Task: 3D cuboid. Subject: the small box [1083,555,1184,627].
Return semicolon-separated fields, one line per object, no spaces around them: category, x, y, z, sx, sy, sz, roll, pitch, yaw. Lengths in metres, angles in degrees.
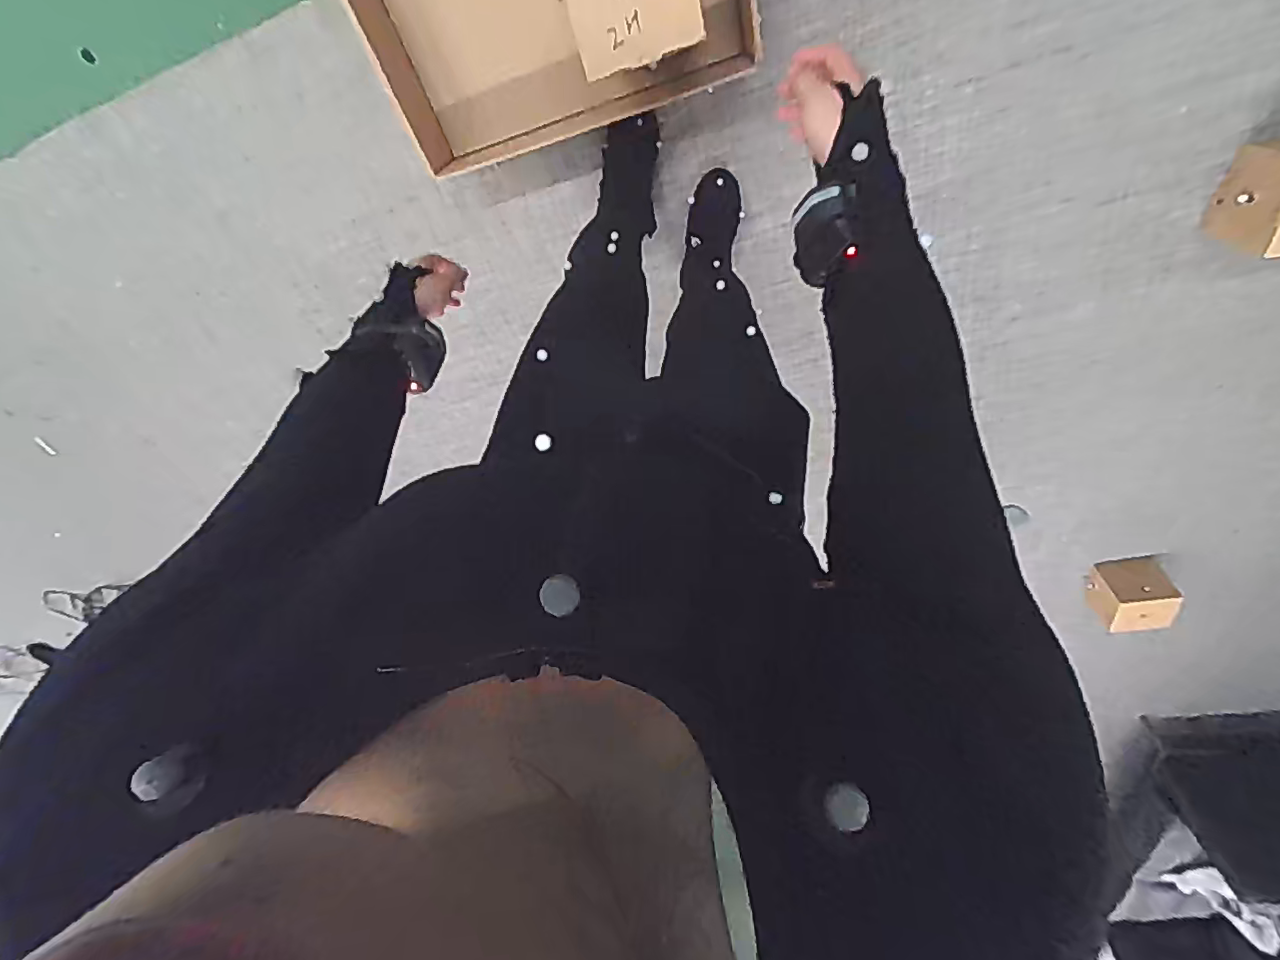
small box;1.654;0.372;1.823;0.179;0.176;0.168;-11;129;15

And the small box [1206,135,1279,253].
small box;1.252;-0.544;1.018;0.179;0.176;0.168;-2;132;7

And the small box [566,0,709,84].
small box;-0.009;-0.660;0.712;0.168;0.176;0.179;-10;131;15
